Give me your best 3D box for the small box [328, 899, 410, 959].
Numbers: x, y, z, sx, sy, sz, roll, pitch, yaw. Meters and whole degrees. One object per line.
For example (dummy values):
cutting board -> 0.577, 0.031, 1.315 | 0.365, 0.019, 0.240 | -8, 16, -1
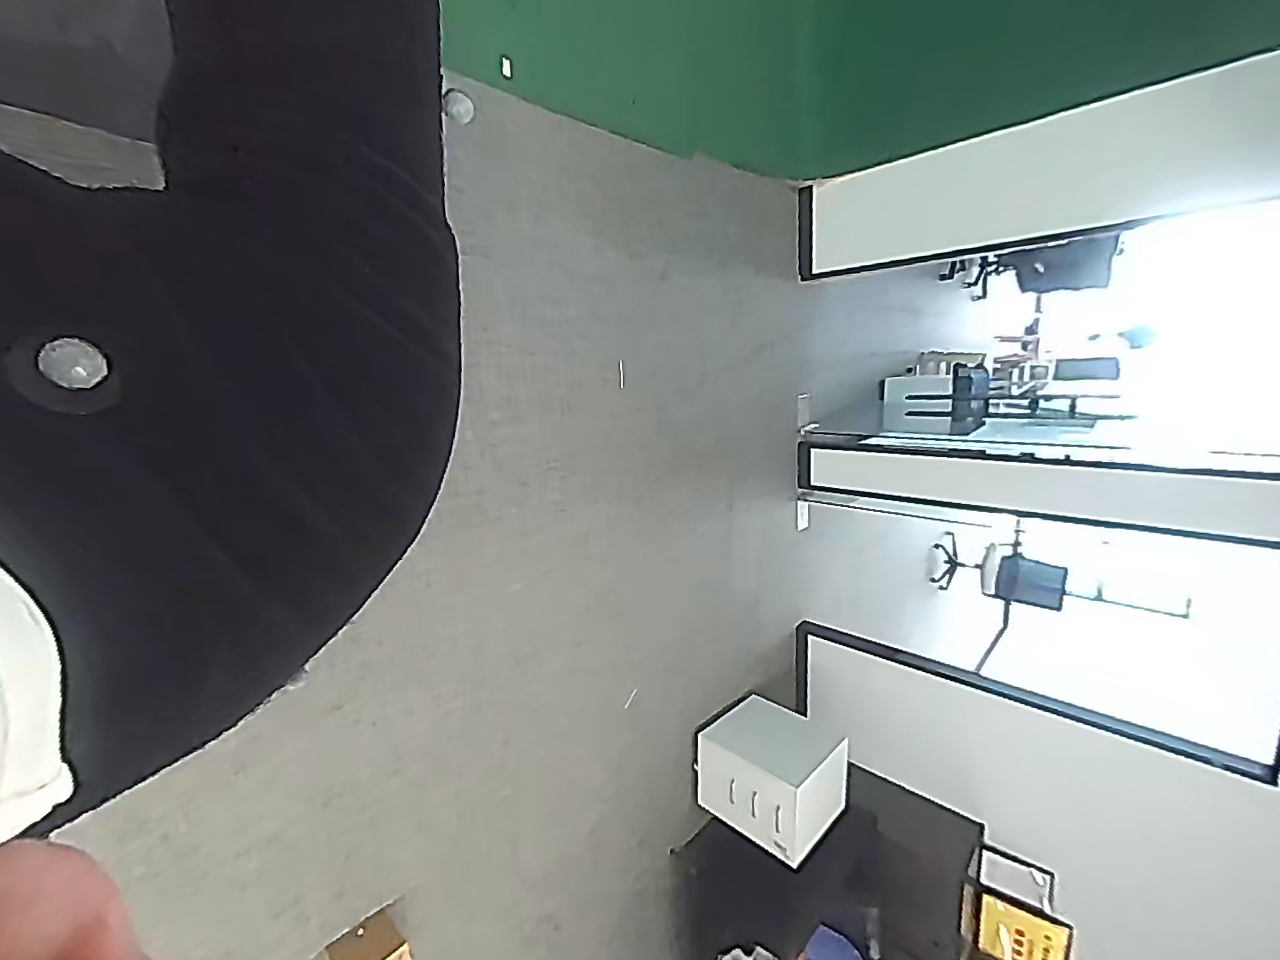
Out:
small box -> -0.801, 1.407, 1.595 | 0.179, 0.176, 0.168 | -13, 107, -45
